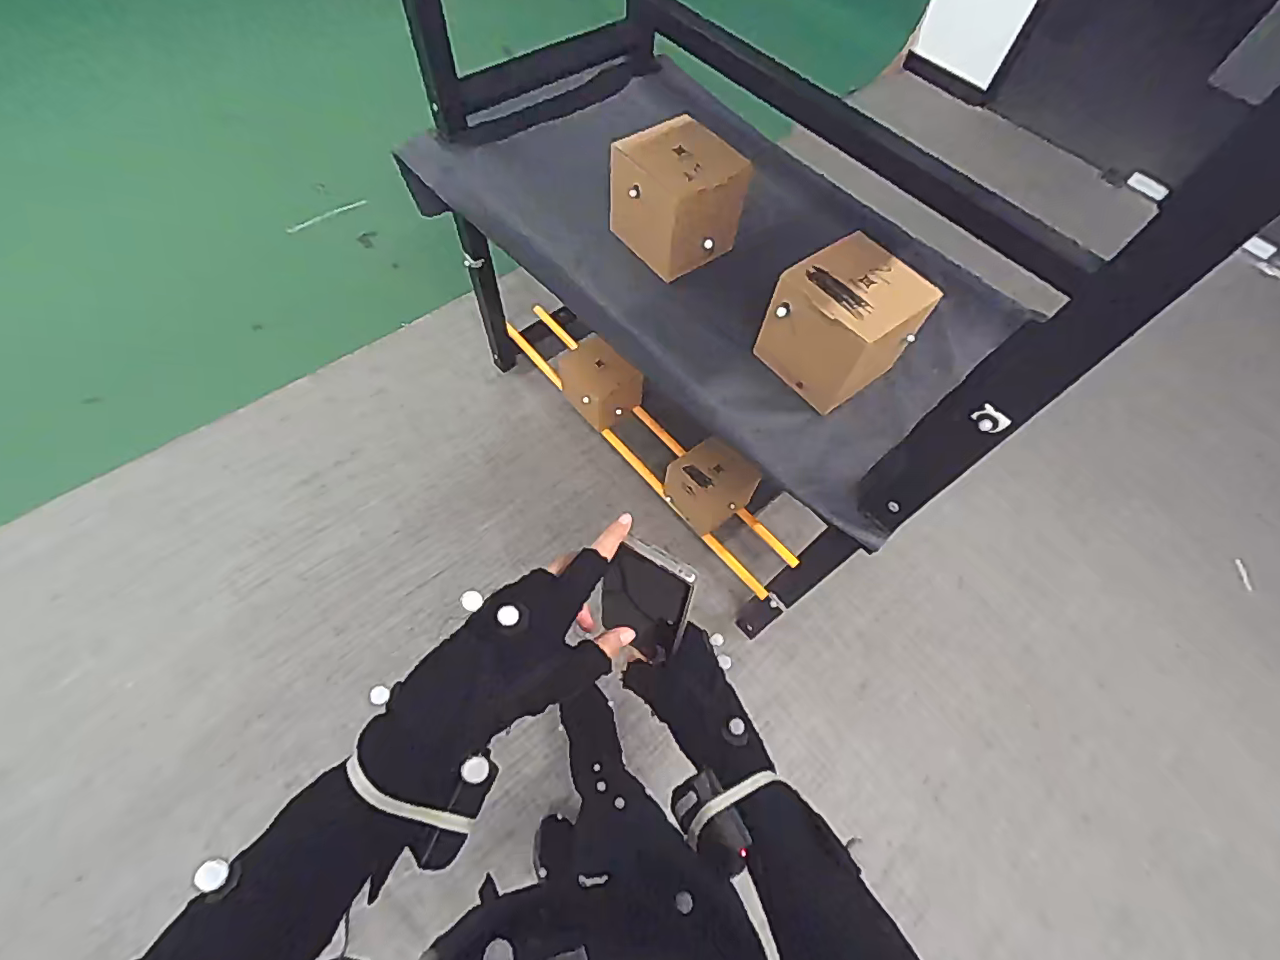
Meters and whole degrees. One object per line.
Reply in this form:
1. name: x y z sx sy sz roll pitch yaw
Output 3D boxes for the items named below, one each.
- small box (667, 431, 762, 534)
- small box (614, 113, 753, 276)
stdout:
1. small box: 0.184 0.012 1.399 0.179 0.176 0.168 -34 69 -18
2. small box: 0.065 -0.500 0.956 0.168 0.176 0.179 -34 69 -19
